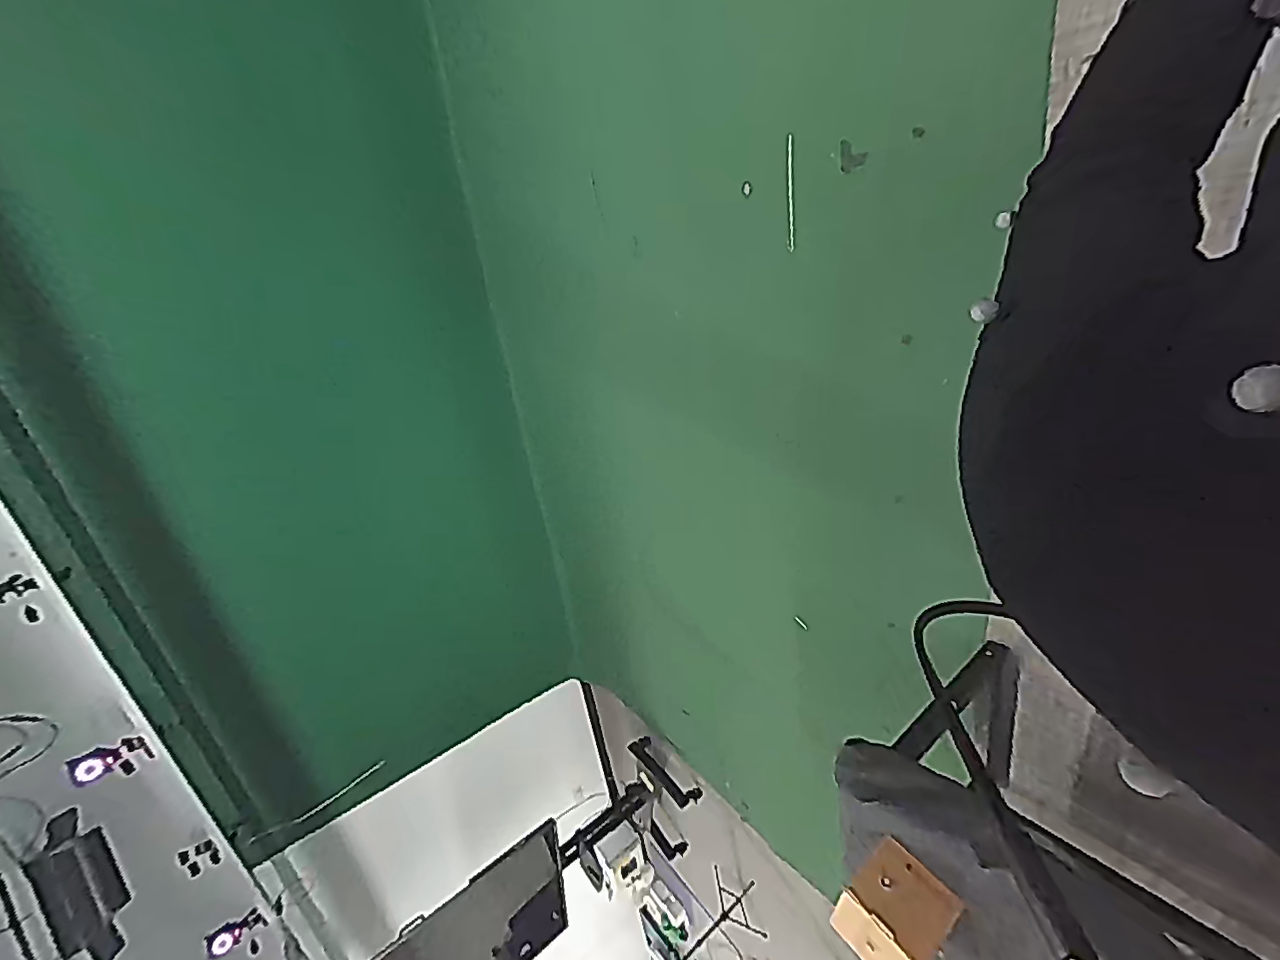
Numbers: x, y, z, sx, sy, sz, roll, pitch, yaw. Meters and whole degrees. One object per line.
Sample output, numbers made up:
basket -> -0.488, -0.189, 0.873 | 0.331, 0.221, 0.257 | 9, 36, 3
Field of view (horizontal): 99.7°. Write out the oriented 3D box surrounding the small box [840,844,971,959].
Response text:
small box -> 0.543, 0.901, 1.109 | 0.168, 0.176, 0.179 | 35, 139, 43
